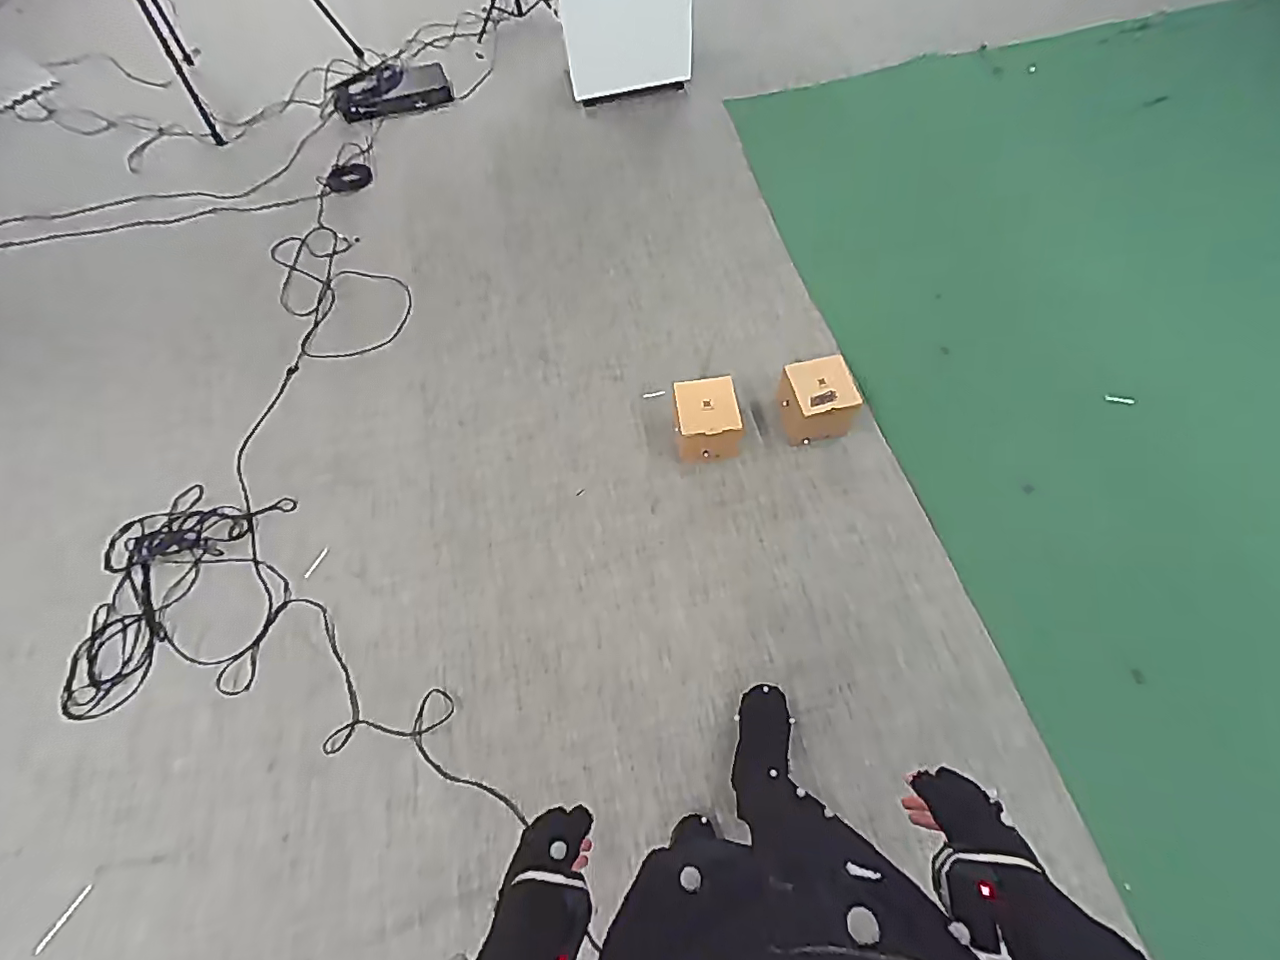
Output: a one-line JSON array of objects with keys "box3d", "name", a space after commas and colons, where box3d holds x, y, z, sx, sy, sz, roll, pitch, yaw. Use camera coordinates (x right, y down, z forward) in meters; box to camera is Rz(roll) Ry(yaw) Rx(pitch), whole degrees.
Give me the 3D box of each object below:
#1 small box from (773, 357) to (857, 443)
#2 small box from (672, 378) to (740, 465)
[{"box3d": [0.496, -0.221, 1.558, 0.168, 0.176, 0.179, -12, 64, -2], "name": "small box"}, {"box3d": [0.182, -0.165, 1.551, 0.168, 0.176, 0.179, -8, 65, 0], "name": "small box"}]
